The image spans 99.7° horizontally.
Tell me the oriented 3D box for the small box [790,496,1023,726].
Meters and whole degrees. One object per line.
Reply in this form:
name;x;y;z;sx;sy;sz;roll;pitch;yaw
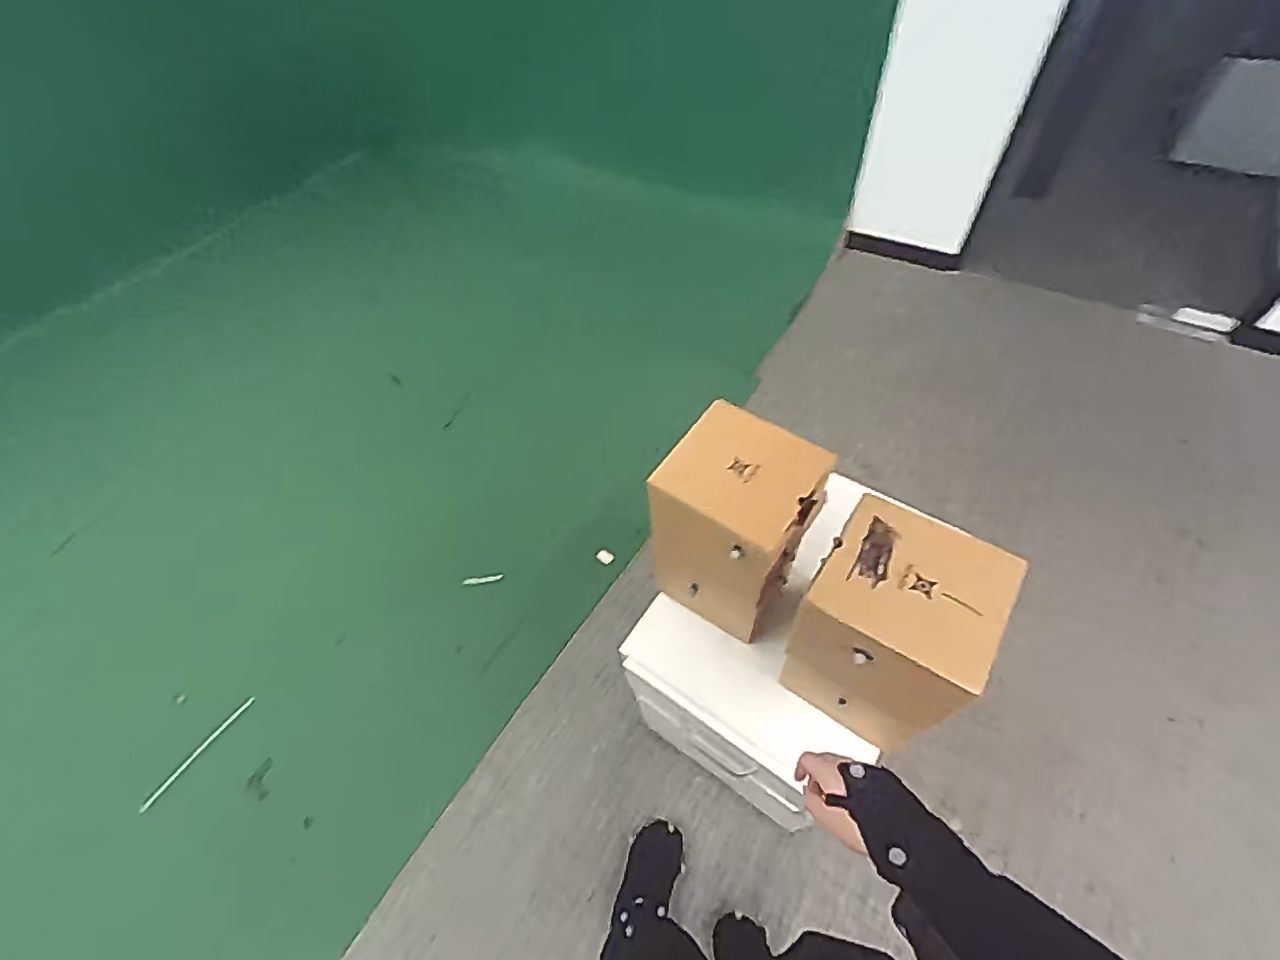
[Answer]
small box;0.295;0.156;0.631;0.179;0.176;0.168;28;61;24

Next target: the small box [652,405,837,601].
small box;0.133;0.035;0.737;0.179;0.176;0.168;31;62;22

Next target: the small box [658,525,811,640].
small box;0.145;0.129;0.871;0.179;0.176;0.168;29;62;22
